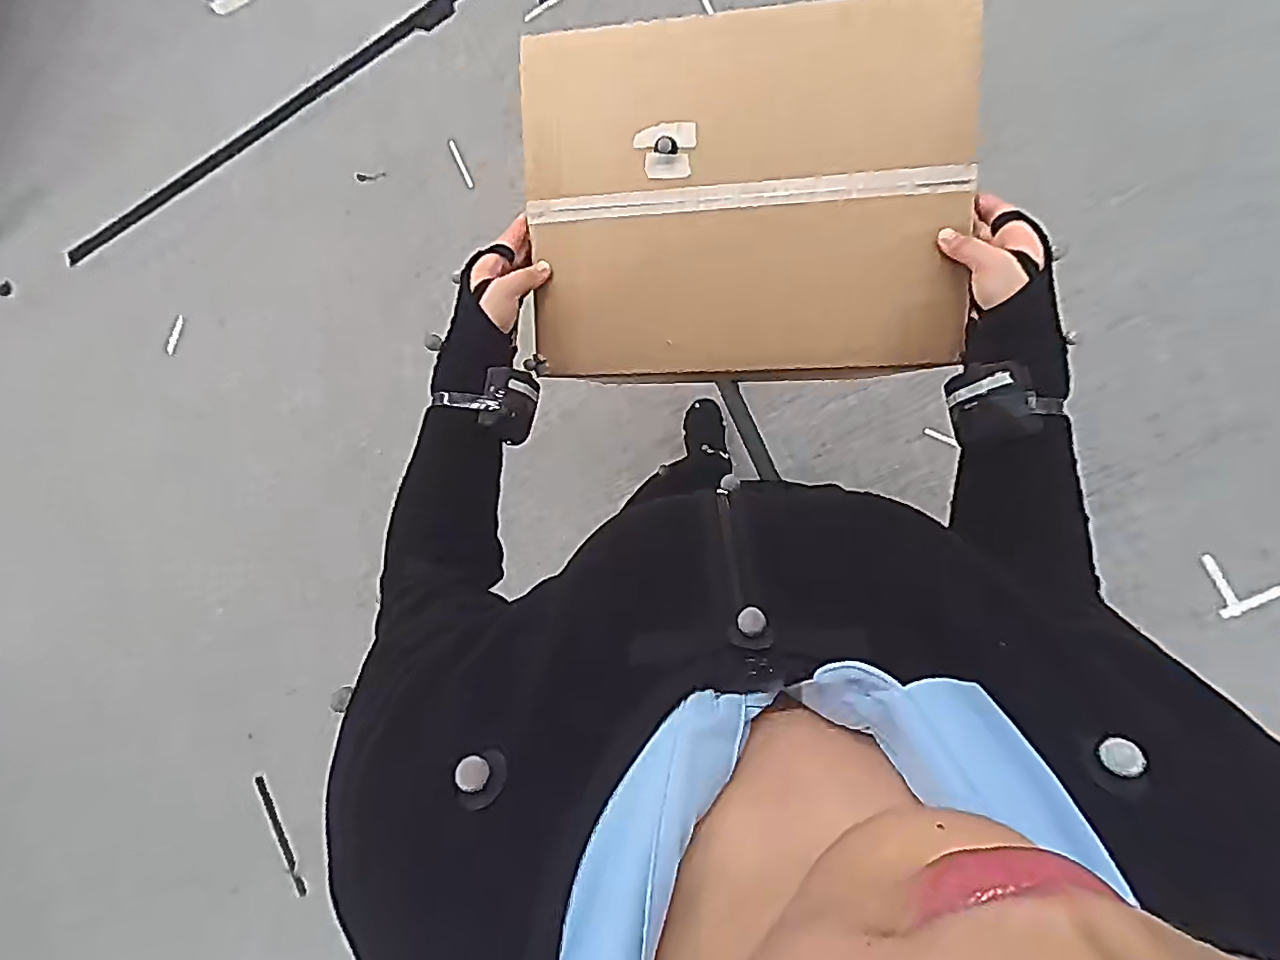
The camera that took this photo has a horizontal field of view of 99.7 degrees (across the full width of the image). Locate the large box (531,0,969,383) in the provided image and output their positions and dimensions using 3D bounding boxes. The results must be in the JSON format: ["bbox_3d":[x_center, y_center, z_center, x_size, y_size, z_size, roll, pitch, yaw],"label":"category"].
[{"bbox_3d":[0.119,-0.286,0.660,0.408,0.320,0.320,-1,97,9],"label":"large box"}]
